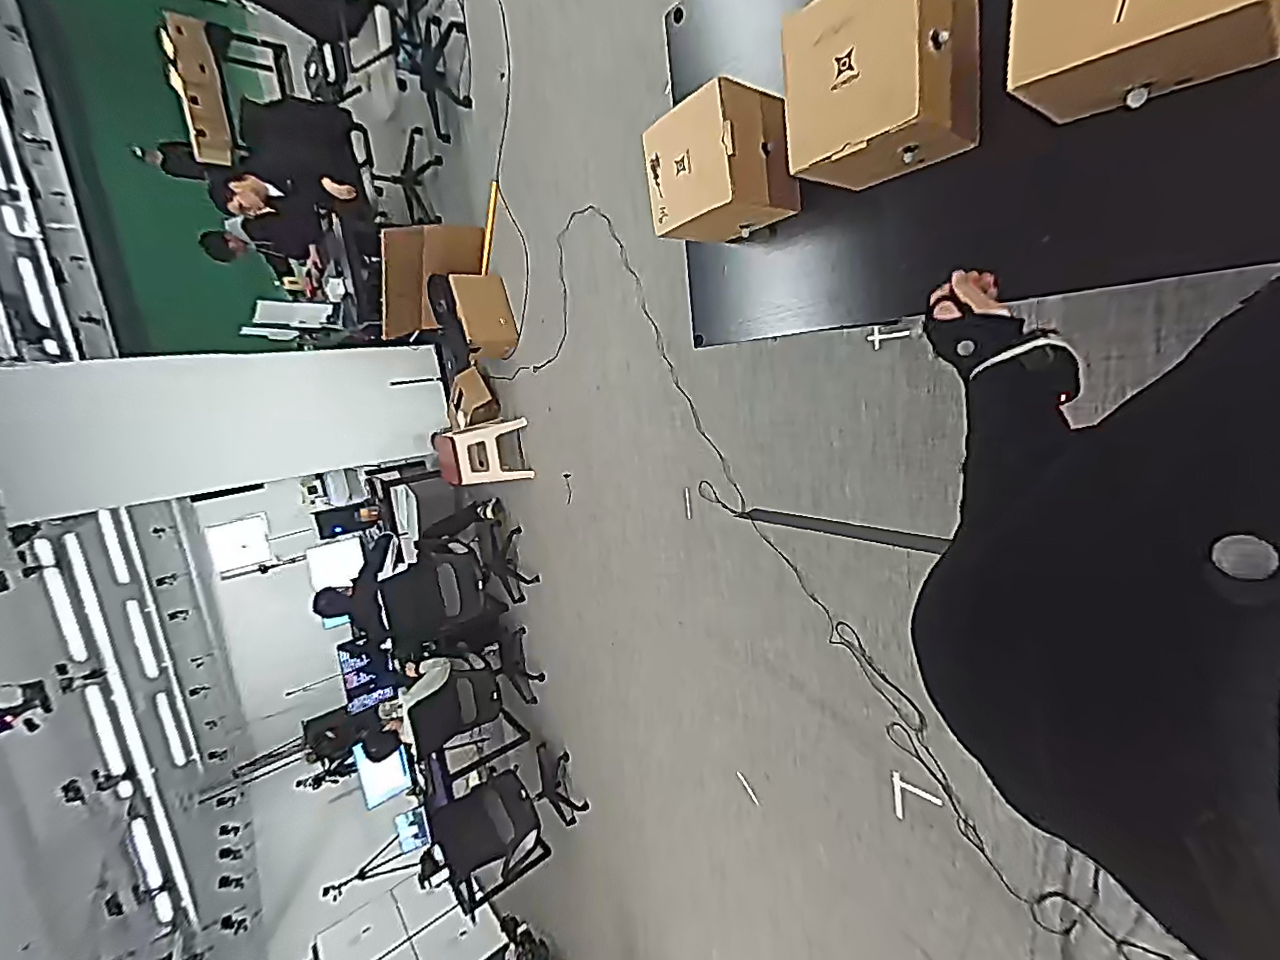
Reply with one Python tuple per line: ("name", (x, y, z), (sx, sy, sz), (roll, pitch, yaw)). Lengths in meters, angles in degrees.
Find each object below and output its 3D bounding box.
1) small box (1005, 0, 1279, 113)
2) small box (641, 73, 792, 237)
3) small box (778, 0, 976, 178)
("small box", (0.448, -0.458, 0.470), (0.168, 0.176, 0.179), (13, 113, 50))
("small box", (0.128, -0.503, 0.867), (0.179, 0.176, 0.168), (3, 104, 50))
("small box", (0.292, -0.491, 0.663), (0.168, 0.176, 0.179), (6, 106, 50))
